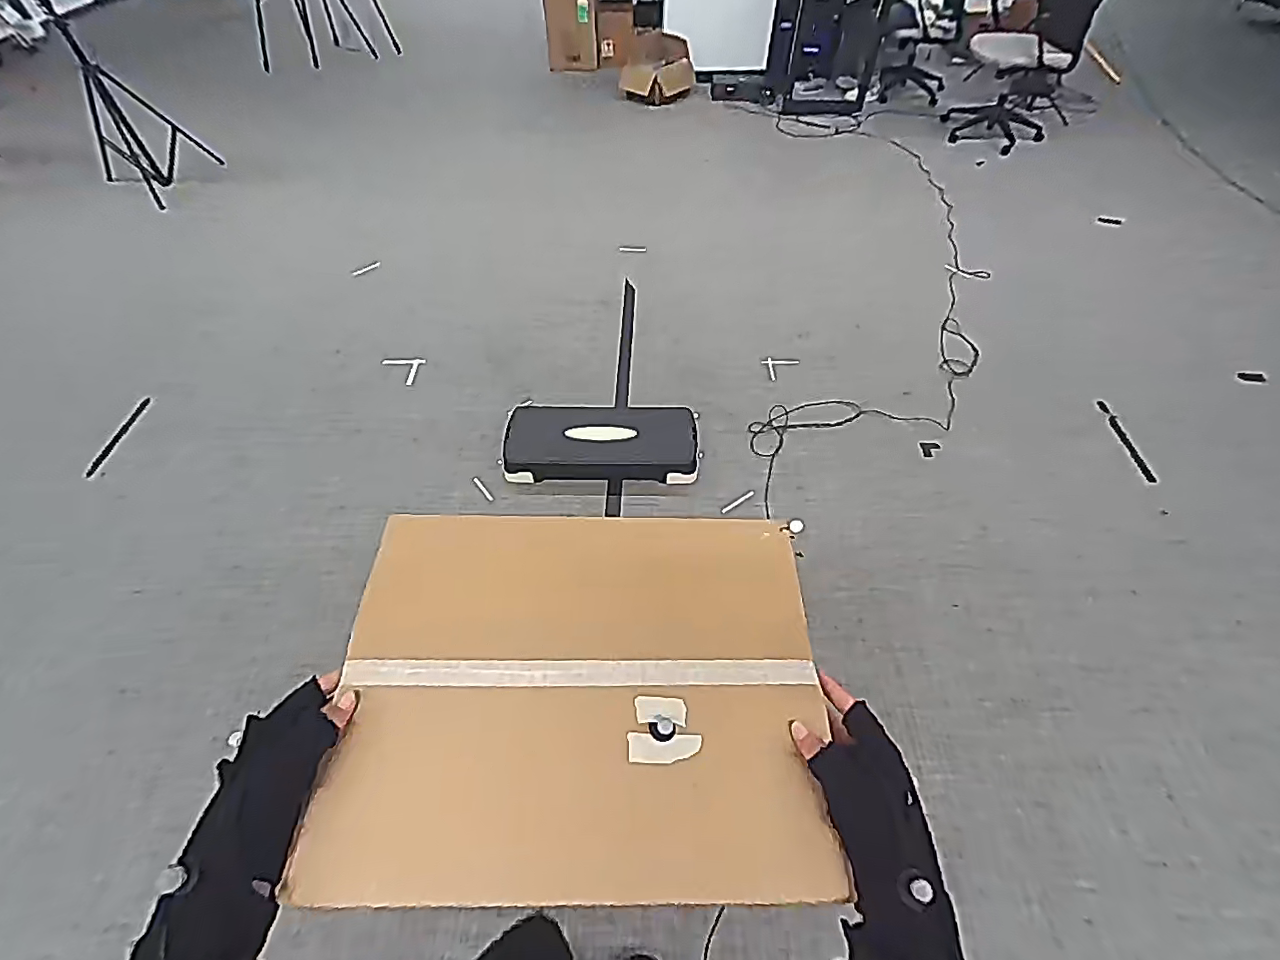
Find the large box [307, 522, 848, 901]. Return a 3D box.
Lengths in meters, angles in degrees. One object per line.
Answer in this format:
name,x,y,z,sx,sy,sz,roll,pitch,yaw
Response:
large box,-0.052,0.256,0.598,0.408,0.320,0.320,1,56,-3
